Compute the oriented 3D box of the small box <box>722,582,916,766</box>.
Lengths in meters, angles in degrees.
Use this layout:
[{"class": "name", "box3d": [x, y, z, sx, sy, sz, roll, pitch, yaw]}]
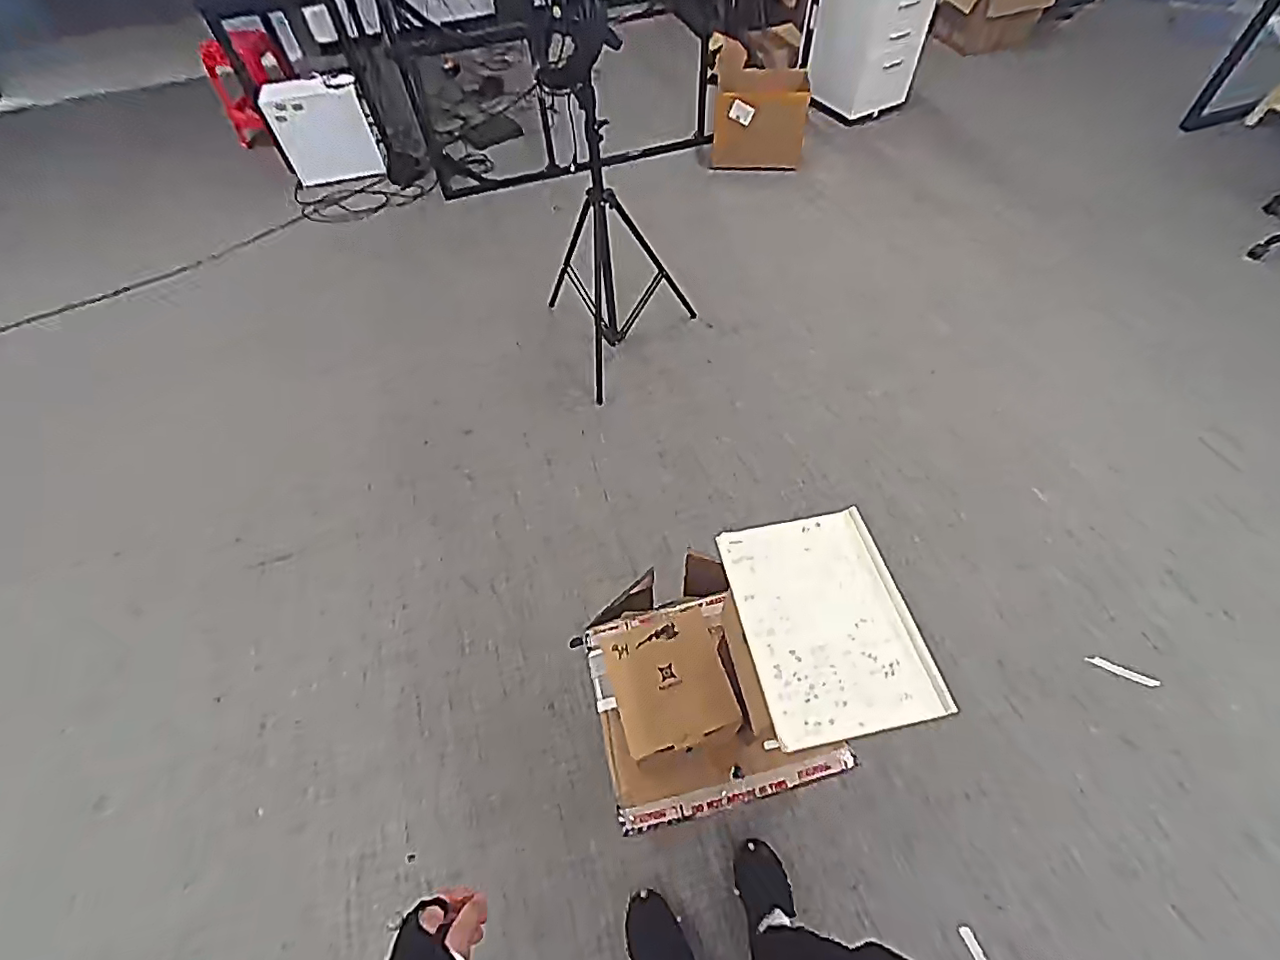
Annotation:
[{"class": "small box", "box3d": [0.215, 0.258, 0.711, 0.168, 0.176, 0.179, -9, 58, -7]}]
